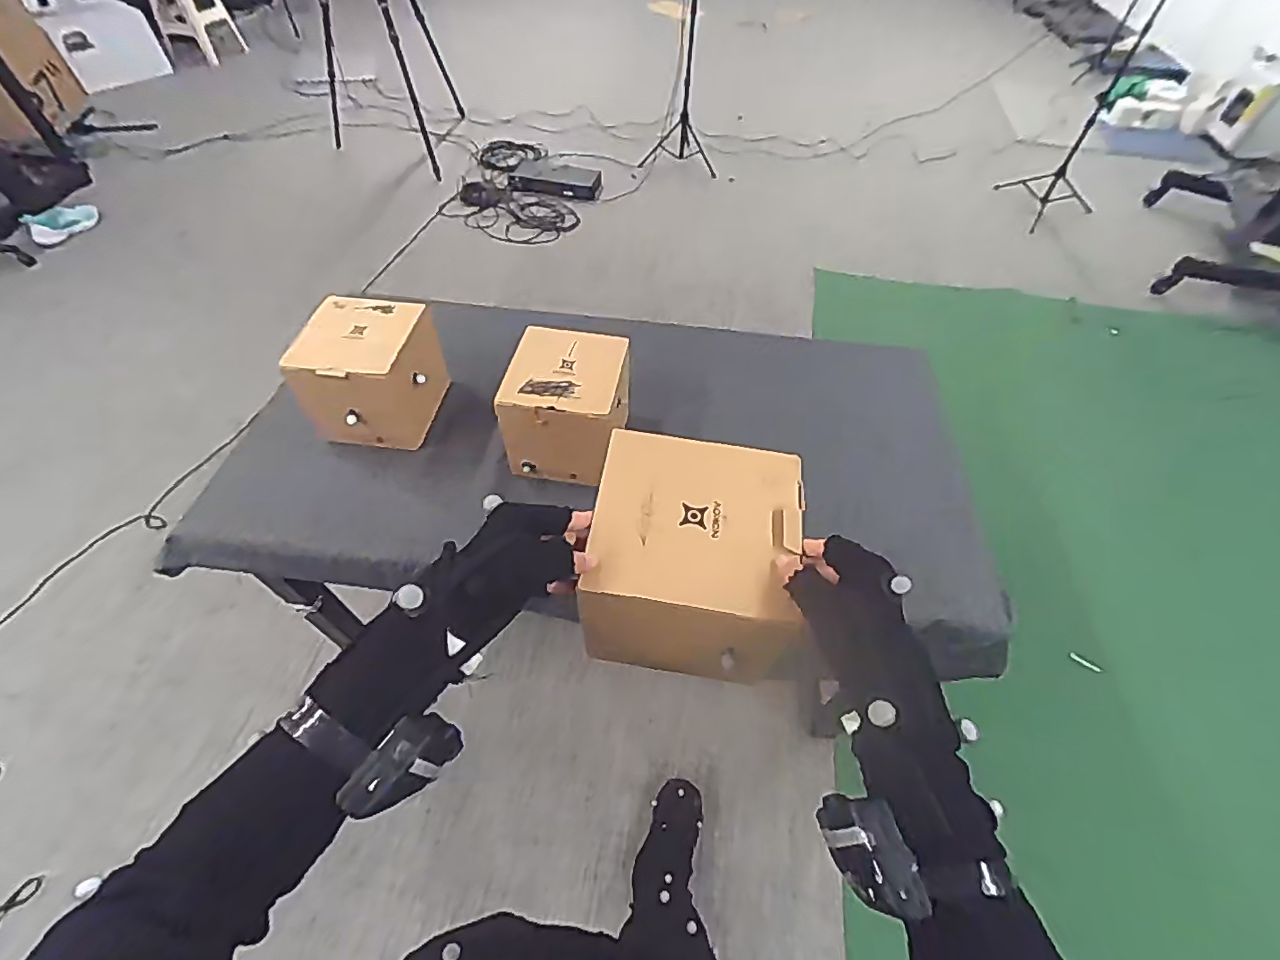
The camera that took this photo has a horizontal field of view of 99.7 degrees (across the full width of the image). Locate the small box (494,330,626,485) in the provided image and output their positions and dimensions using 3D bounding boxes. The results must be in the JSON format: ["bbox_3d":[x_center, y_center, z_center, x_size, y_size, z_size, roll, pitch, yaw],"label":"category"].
[{"bbox_3d":[-0.115,-0.113,0.871,0.168,0.176,0.179,8,52,4],"label":"small box"}]

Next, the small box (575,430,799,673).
[{"bbox_3d":[0.044,0.075,0.525,0.179,0.176,0.168,6,54,4],"label":"small box"}]

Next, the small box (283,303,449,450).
[{"bbox_3d":[-0.439,-0.169,0.905,0.168,0.176,0.179,6,54,2],"label":"small box"}]
